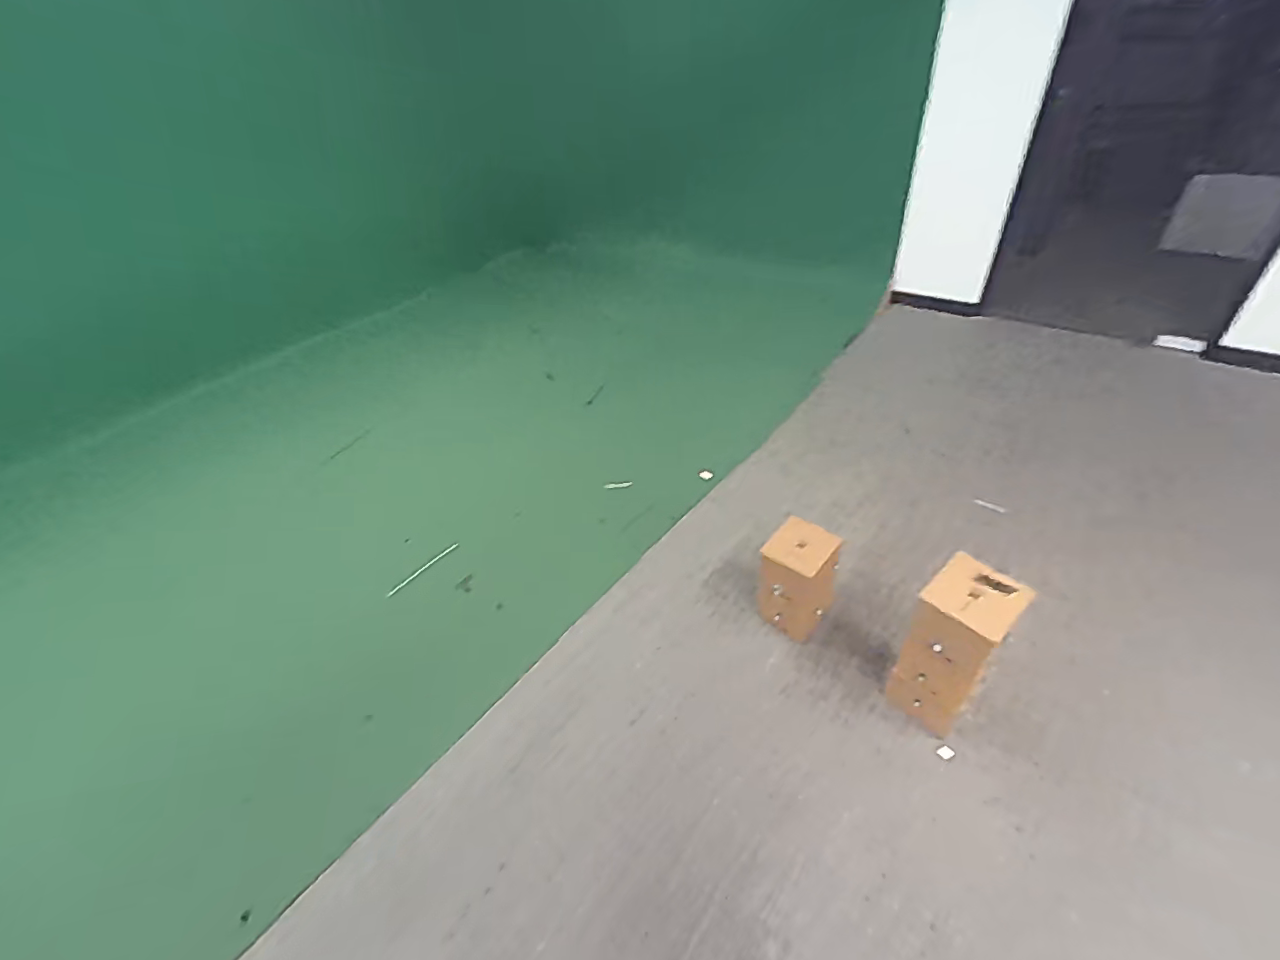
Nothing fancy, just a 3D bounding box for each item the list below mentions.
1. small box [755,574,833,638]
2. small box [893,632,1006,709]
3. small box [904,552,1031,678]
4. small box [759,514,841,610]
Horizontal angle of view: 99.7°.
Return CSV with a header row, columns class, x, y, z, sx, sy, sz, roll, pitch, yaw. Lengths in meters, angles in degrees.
class,x,y,z,sx,sy,sz,roll,pitch,yaw
small box,0.476,0.355,1.680,0.179,0.176,0.168,-38,50,-27
small box,0.747,0.417,1.324,0.179,0.176,0.168,-35,48,-25
small box,0.721,0.302,1.210,0.179,0.176,0.168,-35,48,-23
small box,0.457,0.238,1.568,0.168,0.176,0.179,27,54,34
